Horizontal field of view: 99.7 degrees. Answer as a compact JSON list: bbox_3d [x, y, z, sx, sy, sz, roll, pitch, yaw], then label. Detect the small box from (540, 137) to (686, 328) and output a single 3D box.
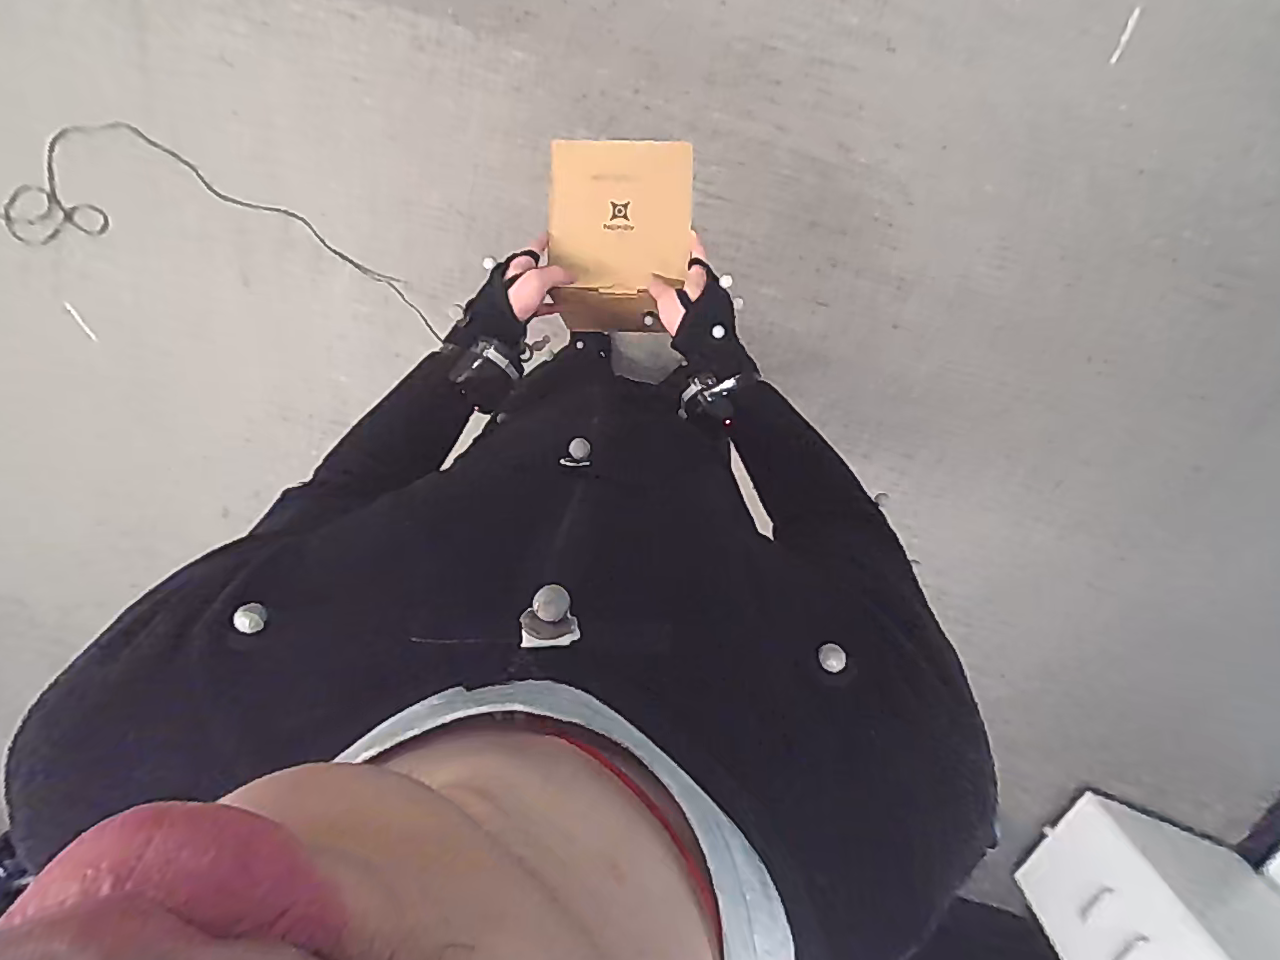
[{"bbox_3d":[-0.028,-0.302,0.694,0.168,0.176,0.179,1,88,2],"label":"small box"}]
